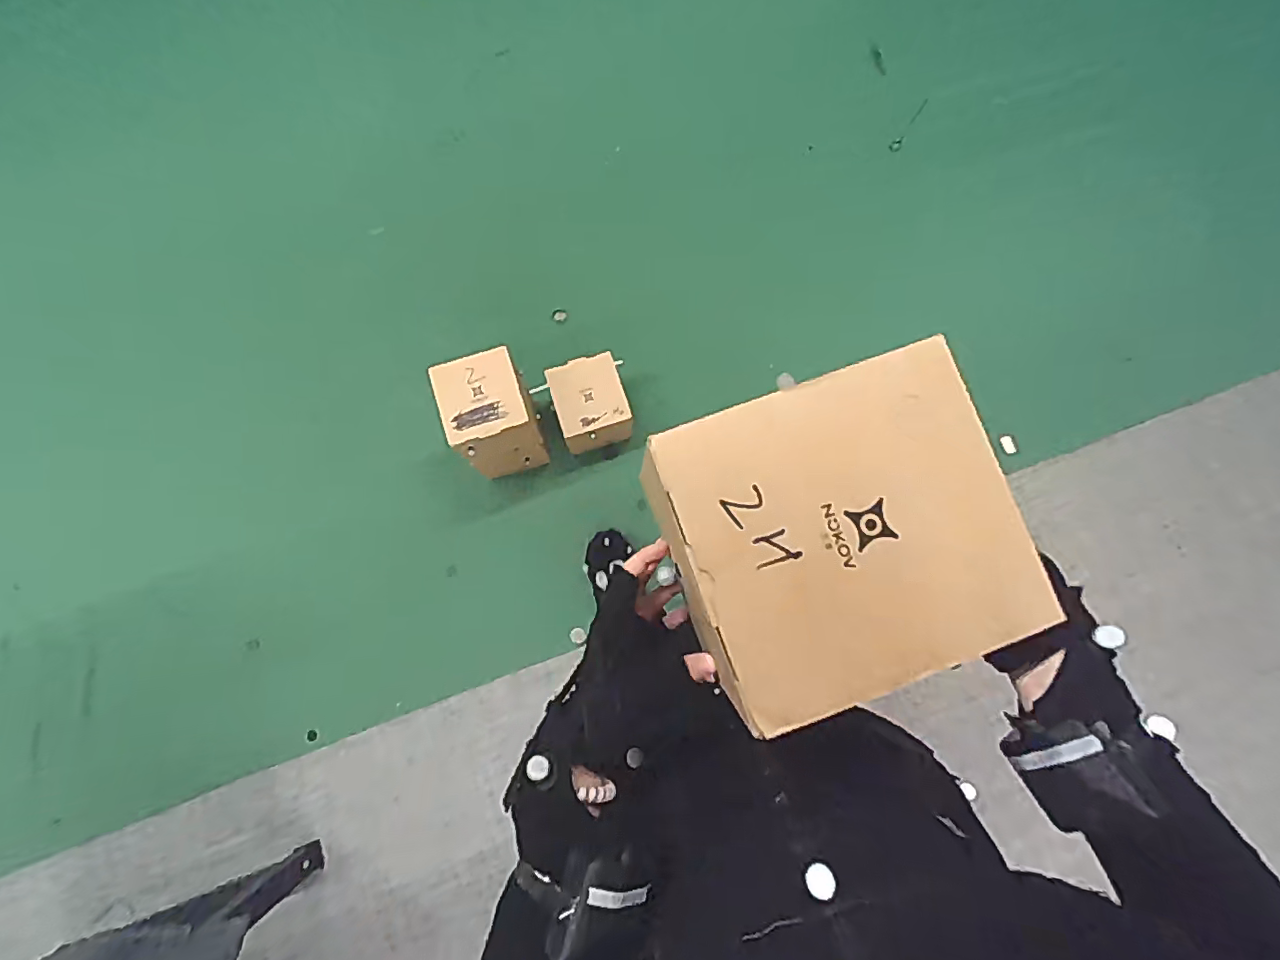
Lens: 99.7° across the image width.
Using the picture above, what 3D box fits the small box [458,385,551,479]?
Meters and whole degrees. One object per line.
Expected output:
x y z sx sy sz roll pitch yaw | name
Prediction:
-0.327 -0.109 1.330 0.168 0.176 0.179 -16 79 -4 | small box

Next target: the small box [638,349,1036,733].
0.105 0.037 0.372 0.179 0.176 0.168 -20 84 -3 | small box
